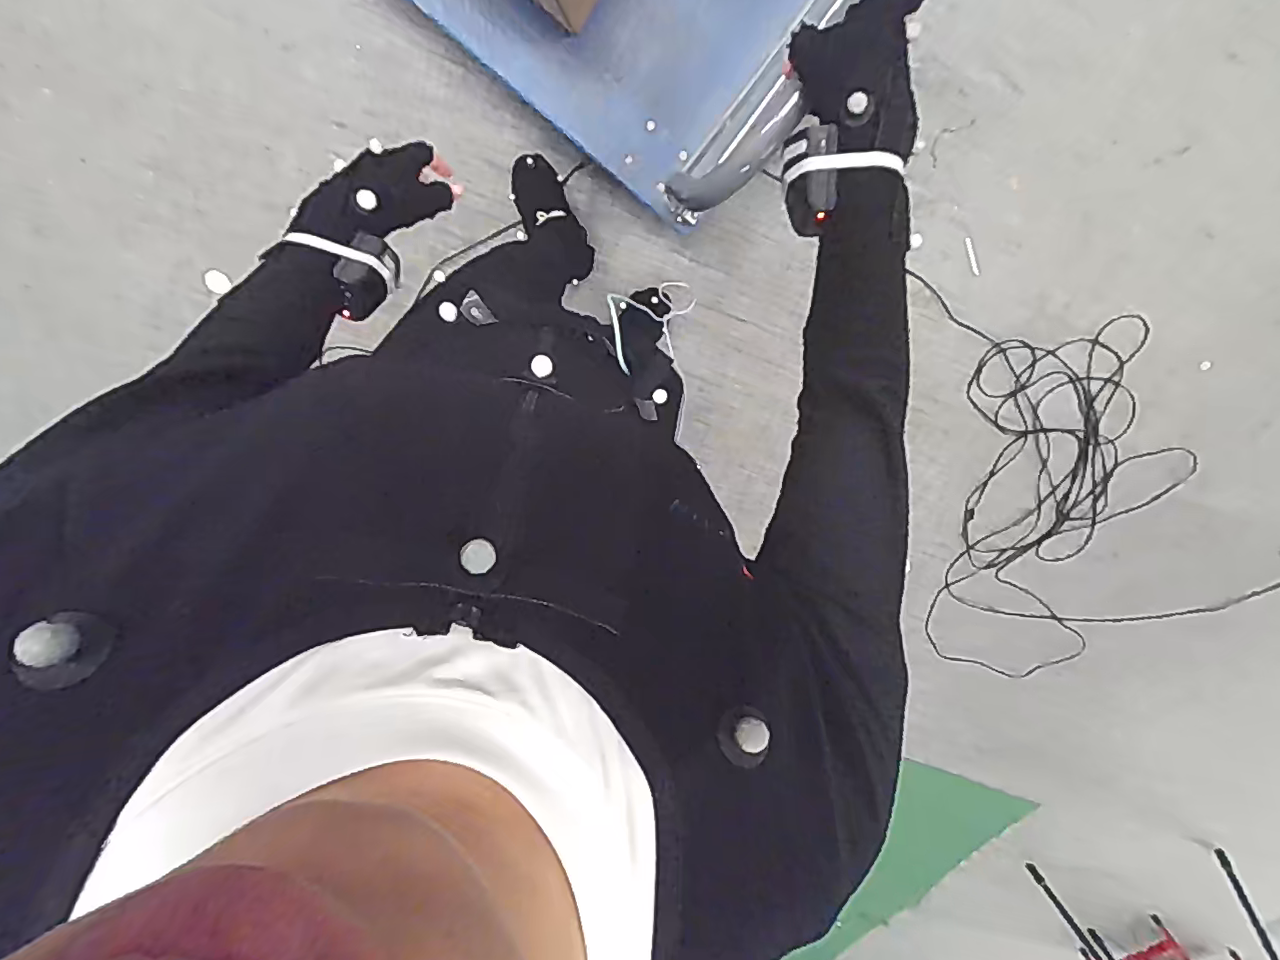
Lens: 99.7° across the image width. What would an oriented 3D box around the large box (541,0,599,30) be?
[{"bbox_3d":[-0.115,-0.935,0.710,0.320,0.320,0.408,33,116,-15],"label":"large box"}]
